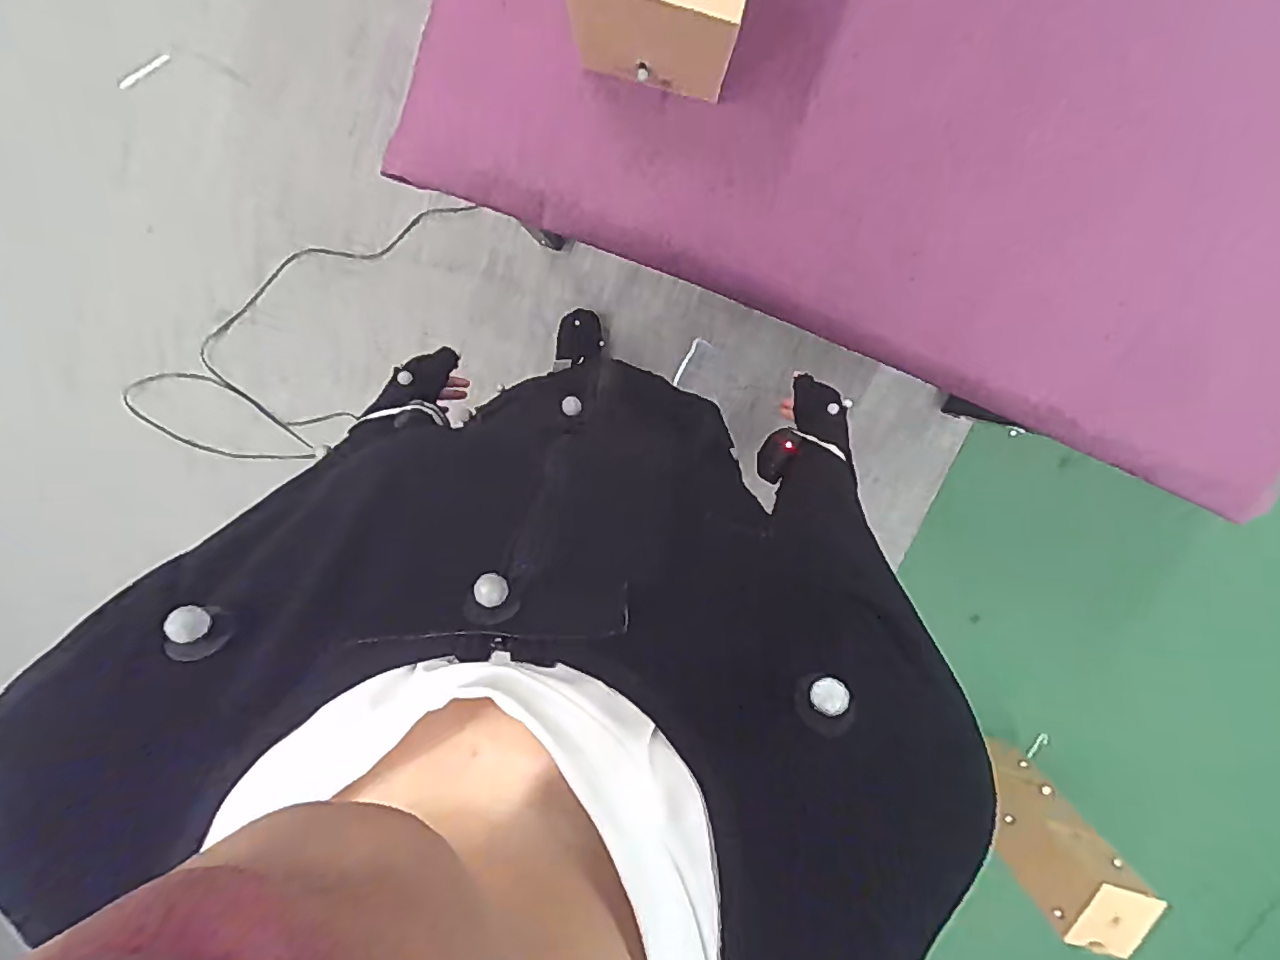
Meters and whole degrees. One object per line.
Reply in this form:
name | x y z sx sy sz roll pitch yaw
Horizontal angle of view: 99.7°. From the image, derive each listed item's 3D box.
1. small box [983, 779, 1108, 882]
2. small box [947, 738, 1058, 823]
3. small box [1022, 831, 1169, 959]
small box | 1.050 0.938 1.423 0.168 0.176 0.179 22 104 -6
small box | 1.051 0.893 1.583 0.179 0.176 0.168 20 102 -4
small box | 1.050 0.972 1.266 0.168 0.176 0.179 19 104 -4
